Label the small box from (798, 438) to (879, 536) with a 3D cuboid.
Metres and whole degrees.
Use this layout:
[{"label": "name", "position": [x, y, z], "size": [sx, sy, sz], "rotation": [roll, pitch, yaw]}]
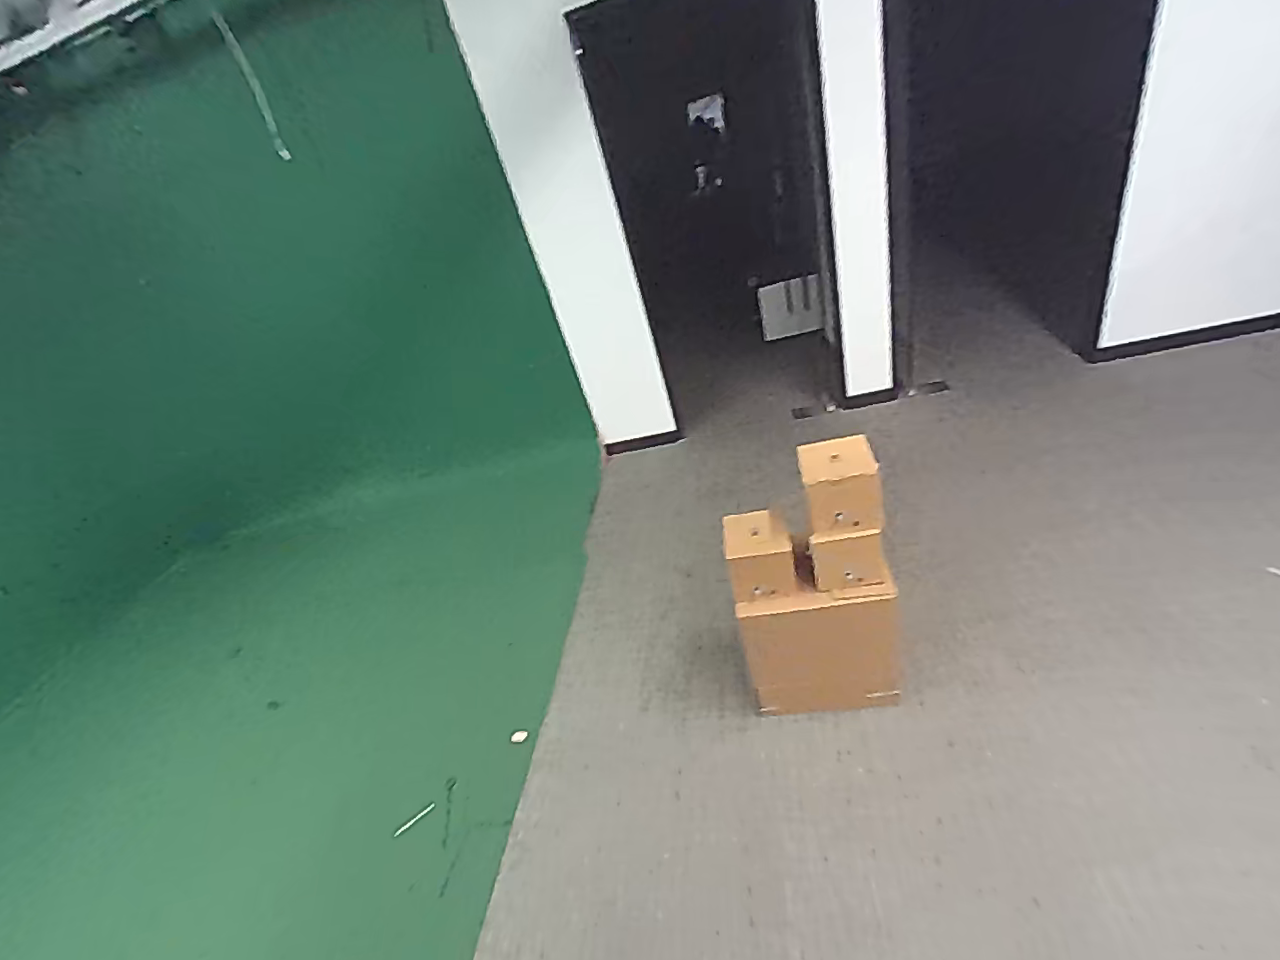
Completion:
[{"label": "small box", "position": [0.497, 0.019, 1.365], "size": [0.168, 0.176, 0.179], "rotation": [-10, 32, 16]}]
